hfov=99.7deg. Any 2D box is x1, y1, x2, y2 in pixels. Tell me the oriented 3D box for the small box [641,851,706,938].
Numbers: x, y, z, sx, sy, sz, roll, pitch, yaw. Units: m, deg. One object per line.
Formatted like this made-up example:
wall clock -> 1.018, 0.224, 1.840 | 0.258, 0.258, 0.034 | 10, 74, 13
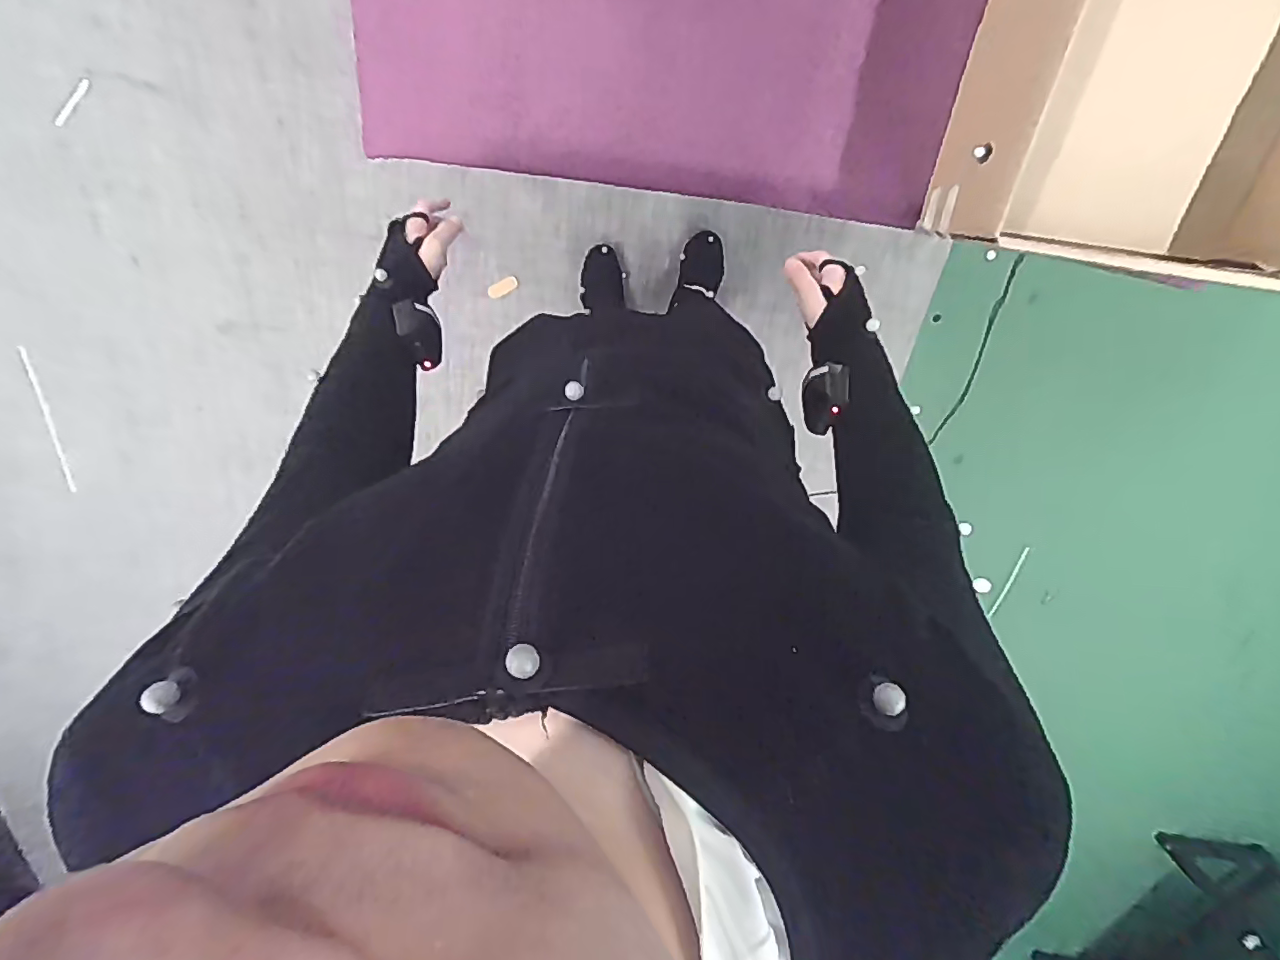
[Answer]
small box -> 0.106, 1.365, 1.788 | 0.179, 0.176, 0.168 | -15, 116, 6
